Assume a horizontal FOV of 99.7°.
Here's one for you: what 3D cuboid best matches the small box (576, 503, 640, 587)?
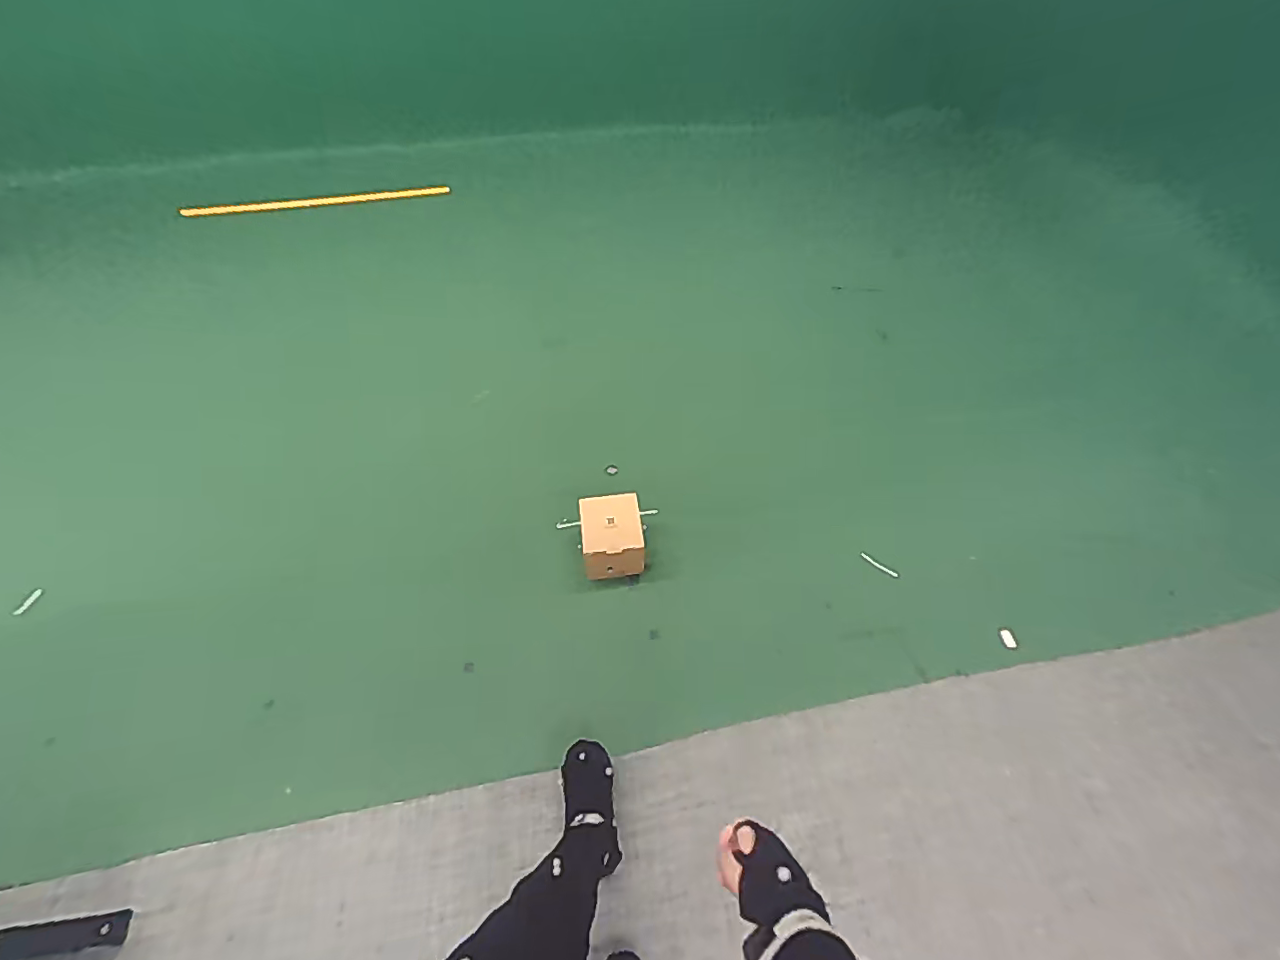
[{"bbox_3d":[-0.095,0.187,1.547,0.168,0.176,0.179,-6,56,-6],"label":"small box"}]
